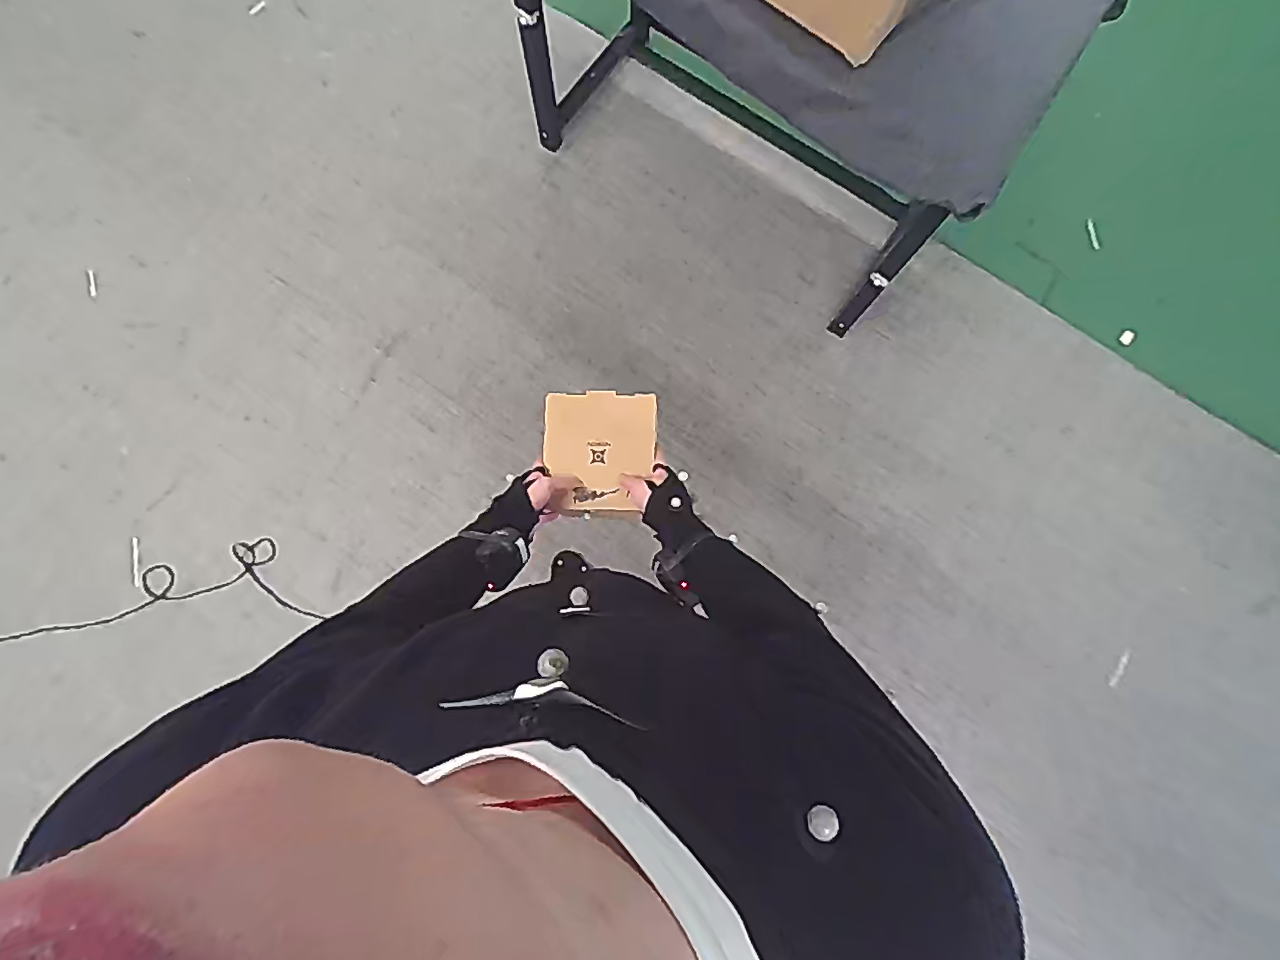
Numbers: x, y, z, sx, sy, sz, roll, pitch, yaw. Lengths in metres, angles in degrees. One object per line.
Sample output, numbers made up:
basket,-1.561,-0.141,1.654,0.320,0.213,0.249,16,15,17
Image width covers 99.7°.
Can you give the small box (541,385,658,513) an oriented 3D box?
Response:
small box,-0.057,-0.043,0.869,0.168,0.176,0.179,1,83,2
